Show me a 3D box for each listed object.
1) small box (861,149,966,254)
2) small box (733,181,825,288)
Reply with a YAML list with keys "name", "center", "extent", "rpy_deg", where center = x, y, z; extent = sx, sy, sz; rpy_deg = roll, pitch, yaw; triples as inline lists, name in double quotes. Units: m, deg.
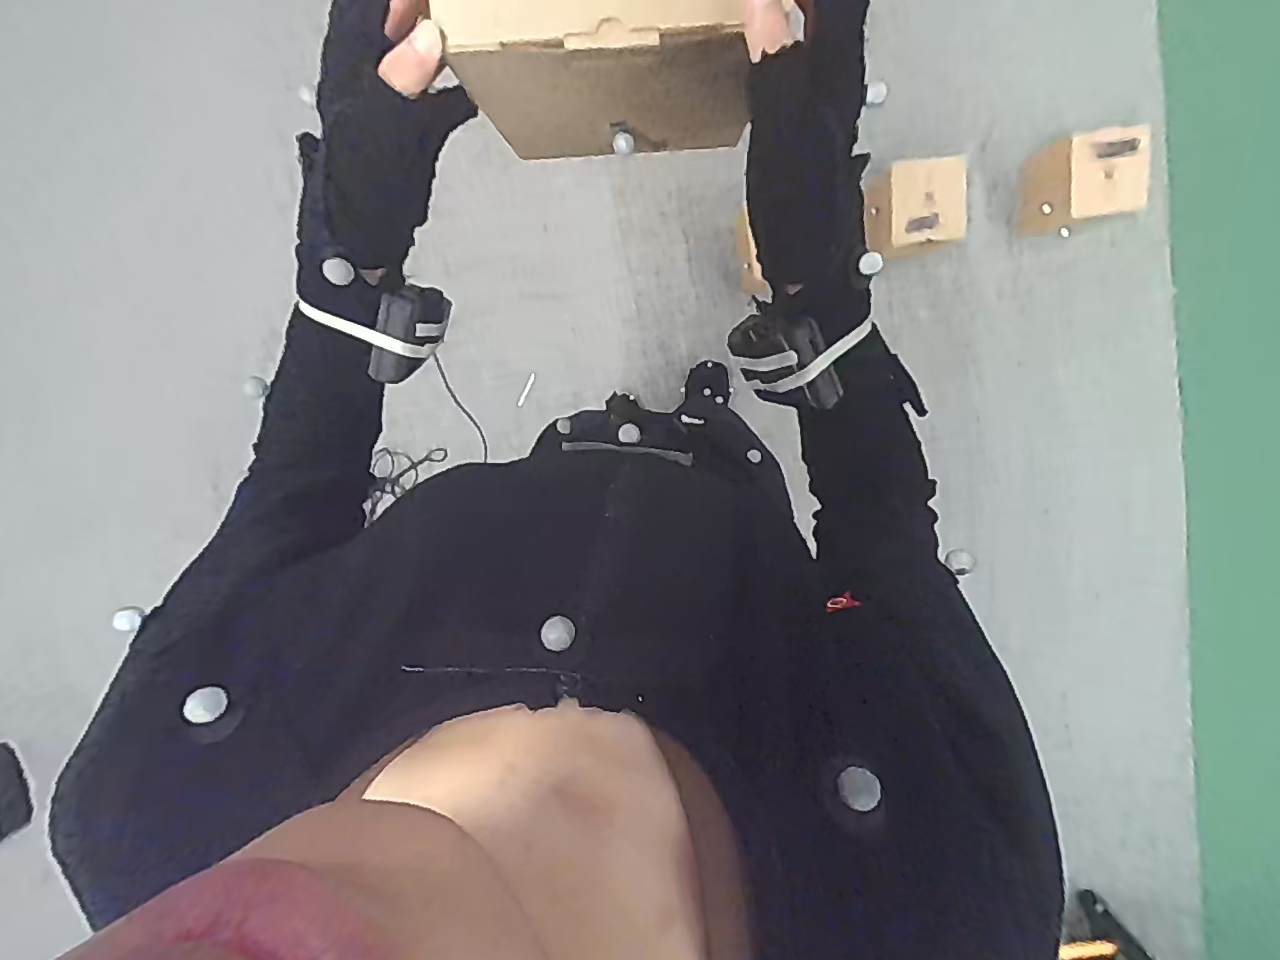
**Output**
- name: "small box"
  center: [0.629, -0.637, 1.259]
  extent: [0.168, 0.176, 0.179]
  rpy_deg: [-5, 99, 2]
- name: "small box"
  center: [0.322, -0.572, 1.279]
  extent: [0.168, 0.176, 0.179]
  rpy_deg: [-11, 100, 4]
